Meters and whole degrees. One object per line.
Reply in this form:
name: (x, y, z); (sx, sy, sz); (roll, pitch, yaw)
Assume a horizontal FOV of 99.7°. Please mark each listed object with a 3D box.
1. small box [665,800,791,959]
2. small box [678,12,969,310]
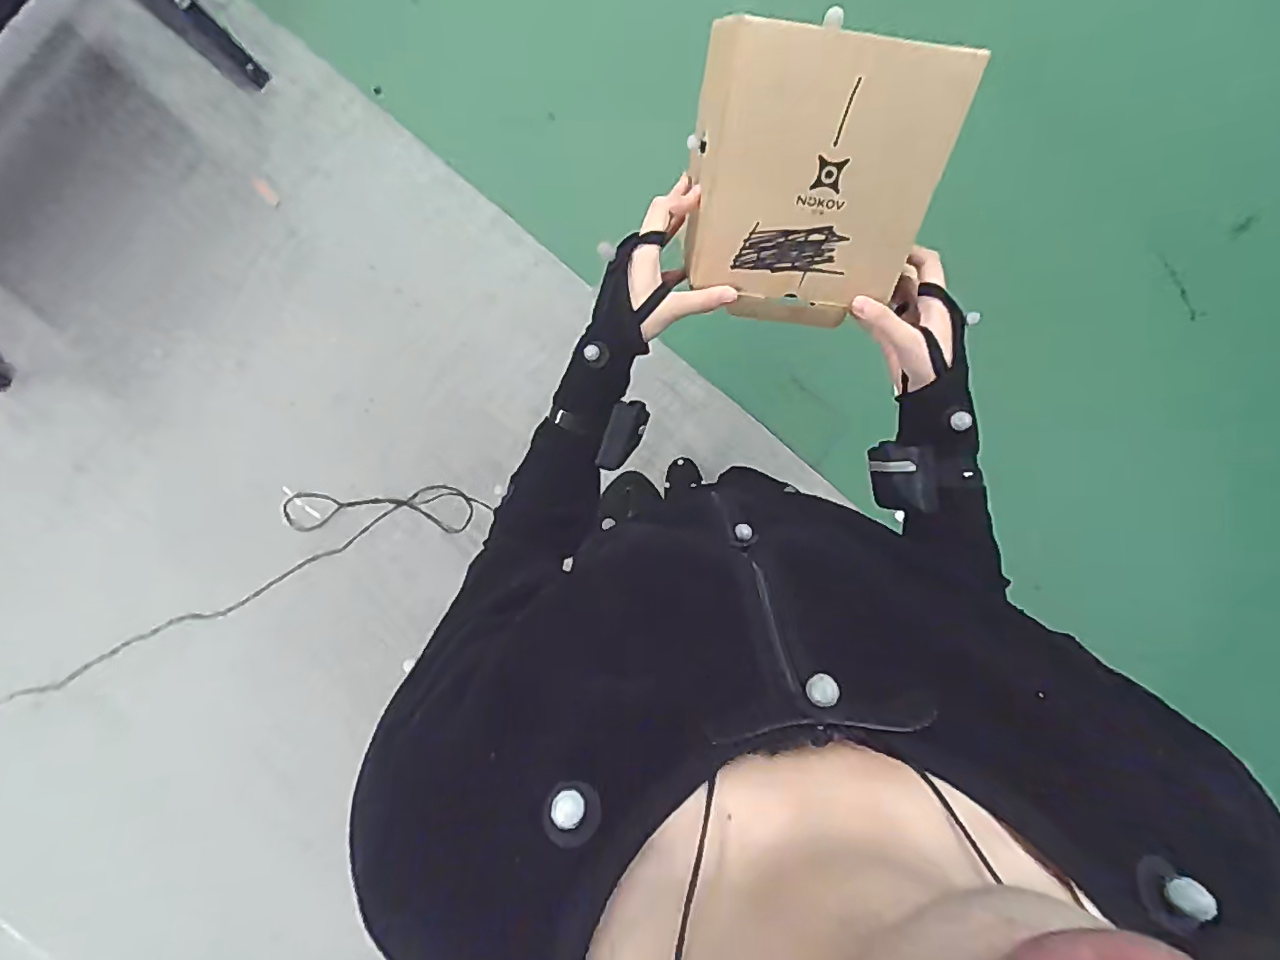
small box: (0.156, 0.757, 1.035); (0.179, 0.176, 0.168); (26, 92, 0)
small box: (0.127, -0.268, 0.461); (0.168, 0.176, 0.179); (5, 128, -5)
